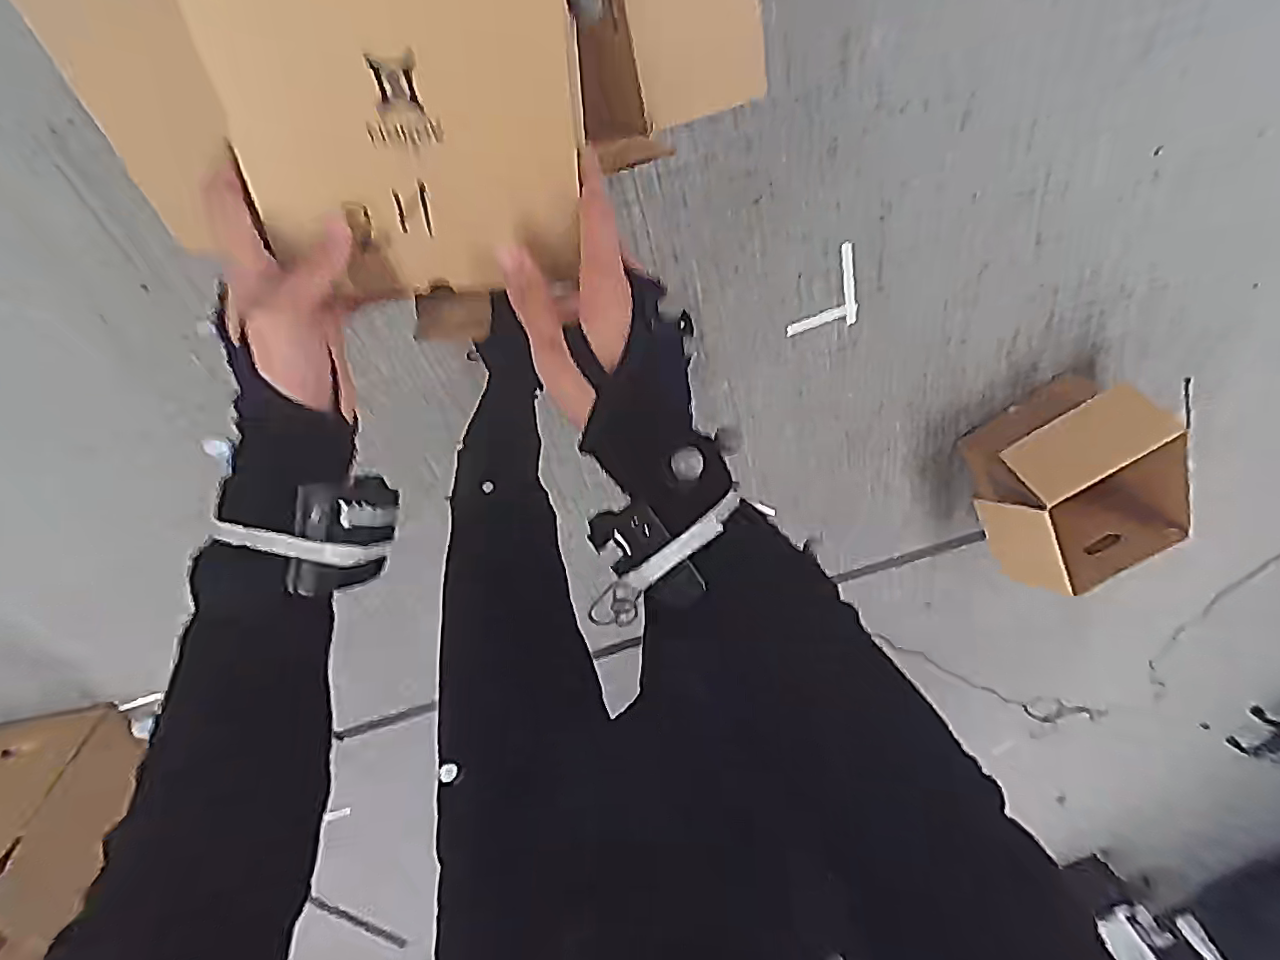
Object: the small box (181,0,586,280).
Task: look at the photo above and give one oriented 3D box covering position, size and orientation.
[{"bbox_3d":[-0.121,-0.229,0.320,0.168,0.176,0.179,-3,123,-1],"label":"small box"}]
